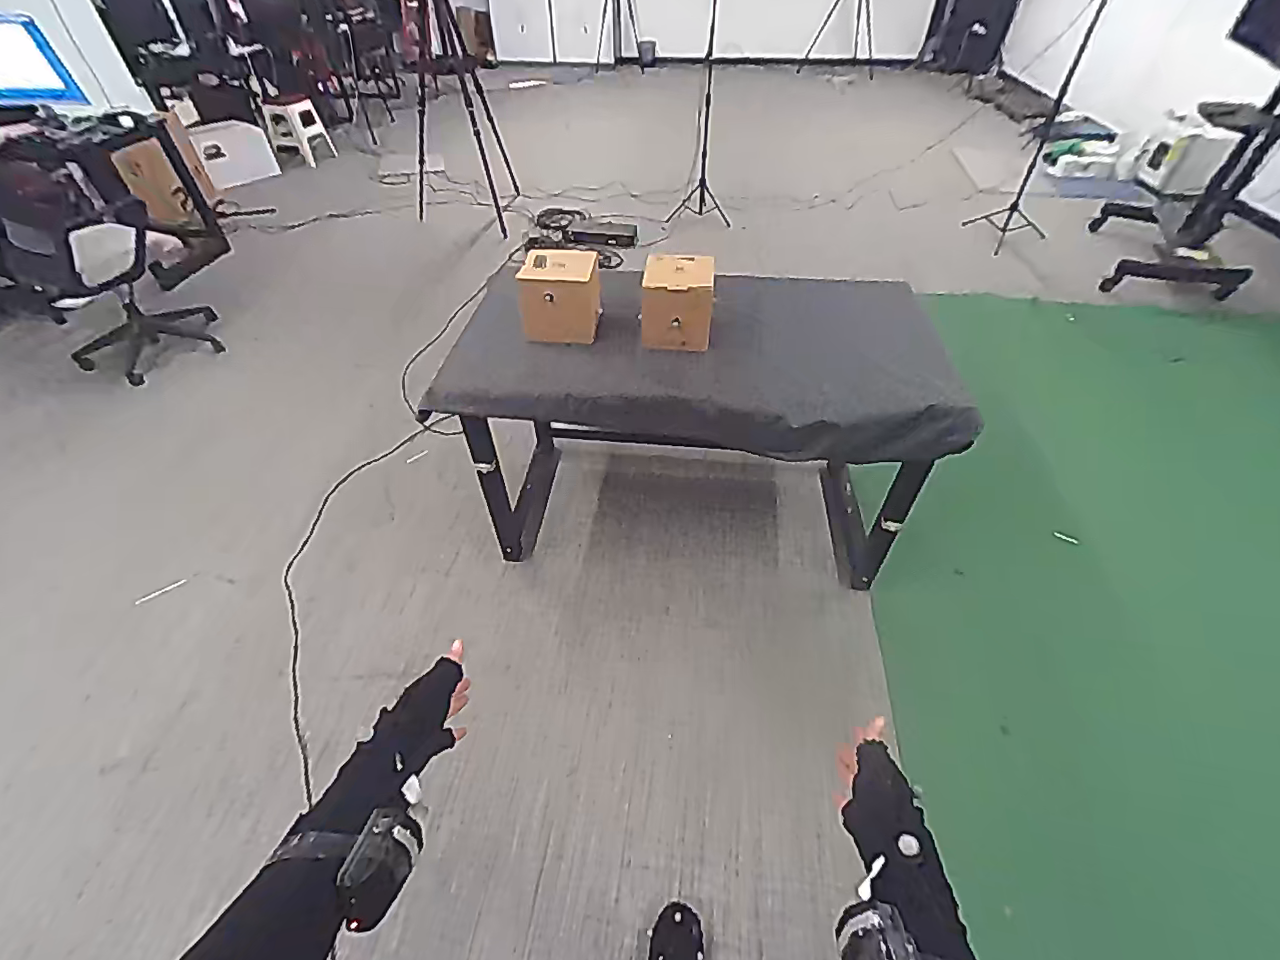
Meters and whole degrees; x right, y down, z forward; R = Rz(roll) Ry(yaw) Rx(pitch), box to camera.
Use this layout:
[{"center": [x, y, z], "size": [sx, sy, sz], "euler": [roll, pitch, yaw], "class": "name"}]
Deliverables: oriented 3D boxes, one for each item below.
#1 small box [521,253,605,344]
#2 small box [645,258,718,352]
[{"center": [-0.187, -0.459, 1.372], "size": [0.179, 0.176, 0.168], "euler": [4, 46, 3], "class": "small box"}, {"center": [0.104, -0.434, 1.346], "size": [0.168, 0.176, 0.179], "euler": [4, 46, 5], "class": "small box"}]
